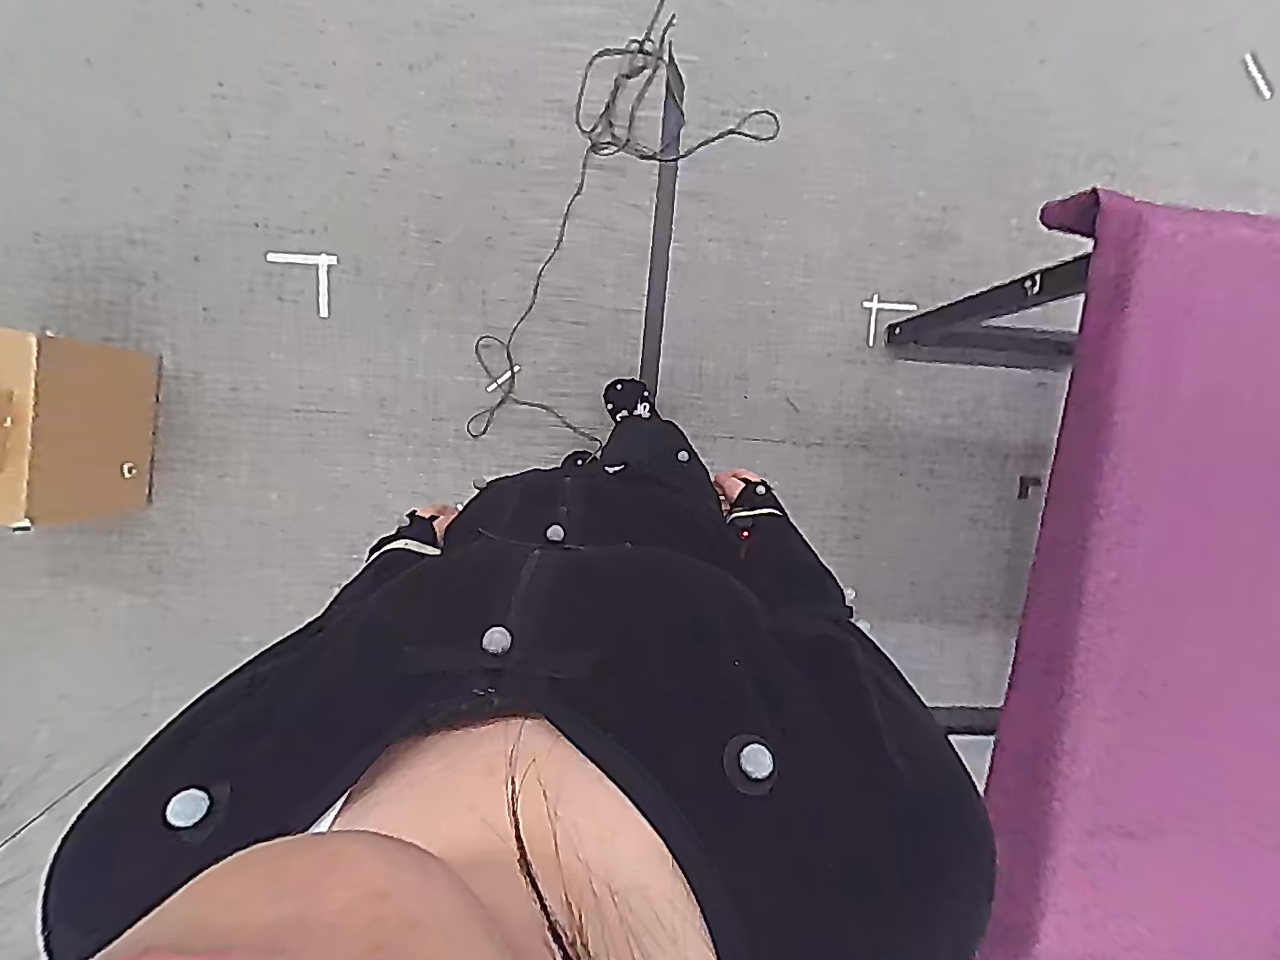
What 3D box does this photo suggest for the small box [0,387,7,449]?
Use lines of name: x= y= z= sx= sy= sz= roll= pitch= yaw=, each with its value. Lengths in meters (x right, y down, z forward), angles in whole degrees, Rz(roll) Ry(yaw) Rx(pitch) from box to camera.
small box: x=-1.350 y=-0.107 z=1.000 sx=0.168 sy=0.176 sz=0.179 roll=12 pitch=93 yaw=-5
